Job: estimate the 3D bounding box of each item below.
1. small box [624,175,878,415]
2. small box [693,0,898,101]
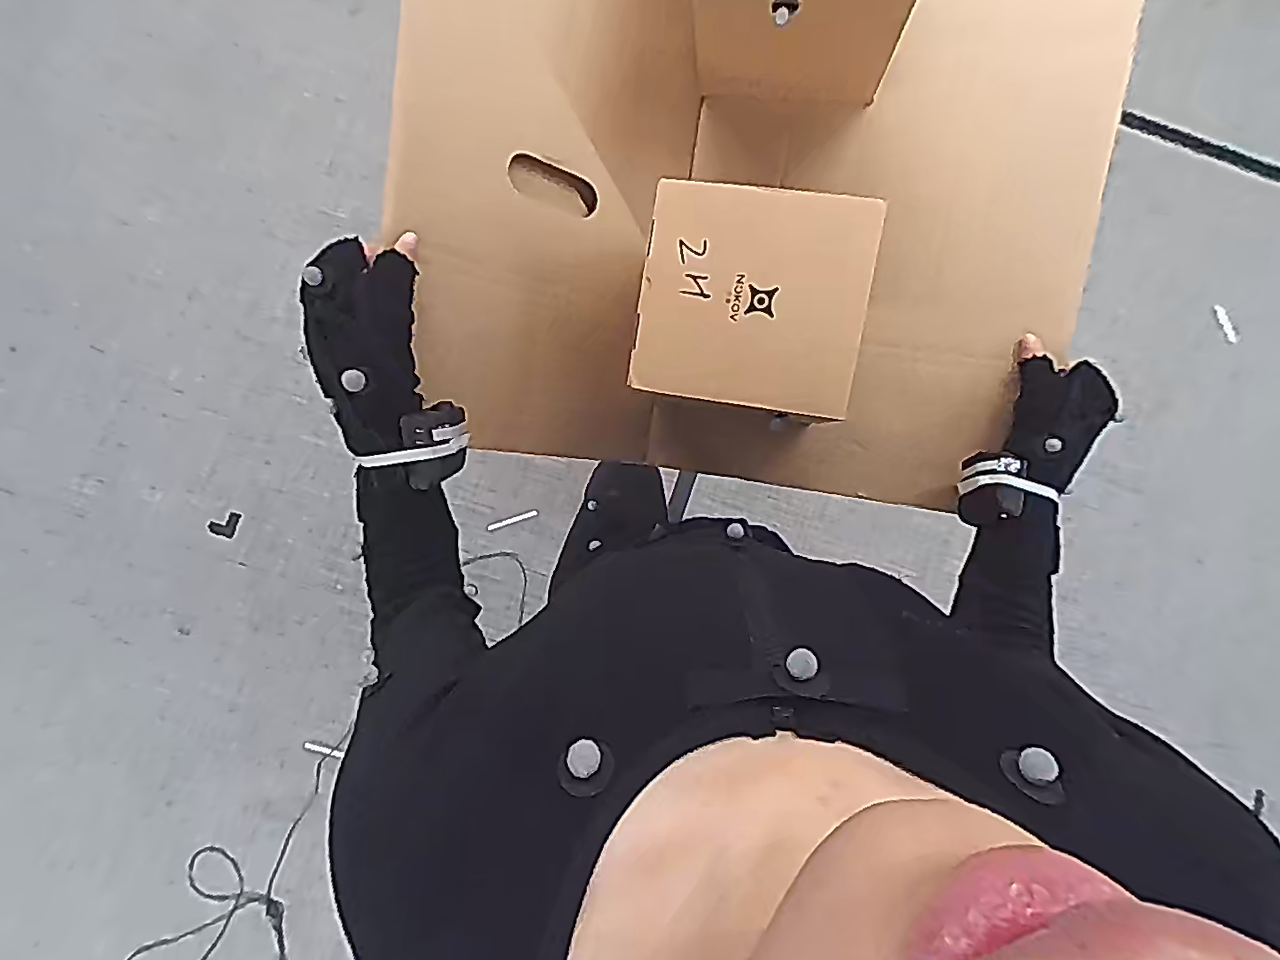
[{"bbox_3d":[0.096,-0.156,0.509,0.179,0.176,0.168,11,97,8],"label":"small box"},{"bbox_3d":[0.141,-0.470,0.476,0.179,0.176,0.168,8,96,8],"label":"small box"}]
